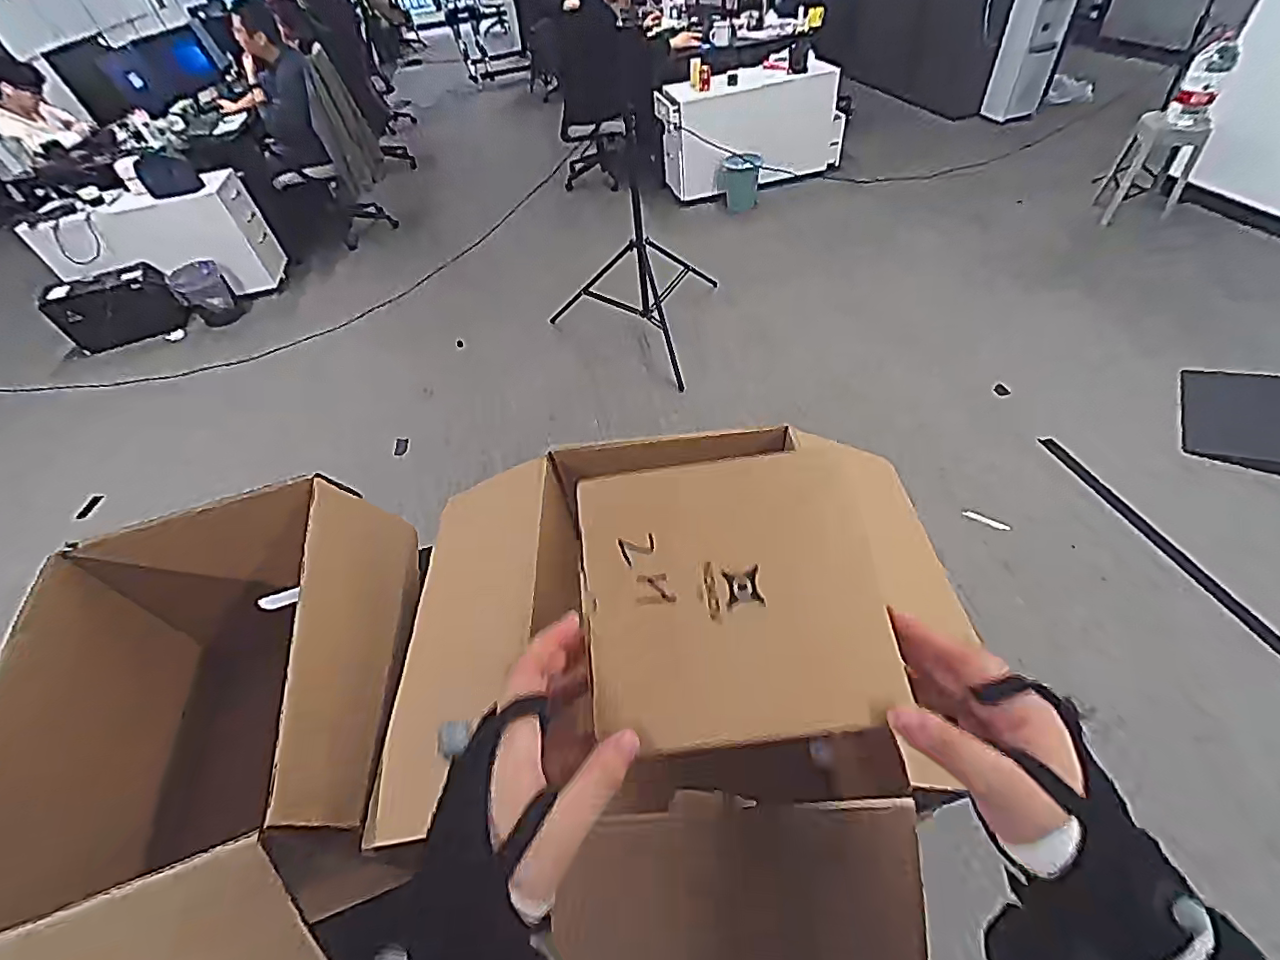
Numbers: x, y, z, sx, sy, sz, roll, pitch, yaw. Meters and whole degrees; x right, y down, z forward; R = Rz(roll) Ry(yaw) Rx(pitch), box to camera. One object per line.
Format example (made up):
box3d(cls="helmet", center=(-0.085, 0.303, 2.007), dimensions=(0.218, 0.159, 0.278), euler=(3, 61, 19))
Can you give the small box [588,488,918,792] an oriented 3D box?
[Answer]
box3d(cls="small box", center=(0.063, 0.120, 0.396), dimensions=(0.179, 0.176, 0.168), euler=(-7, 64, 2))
